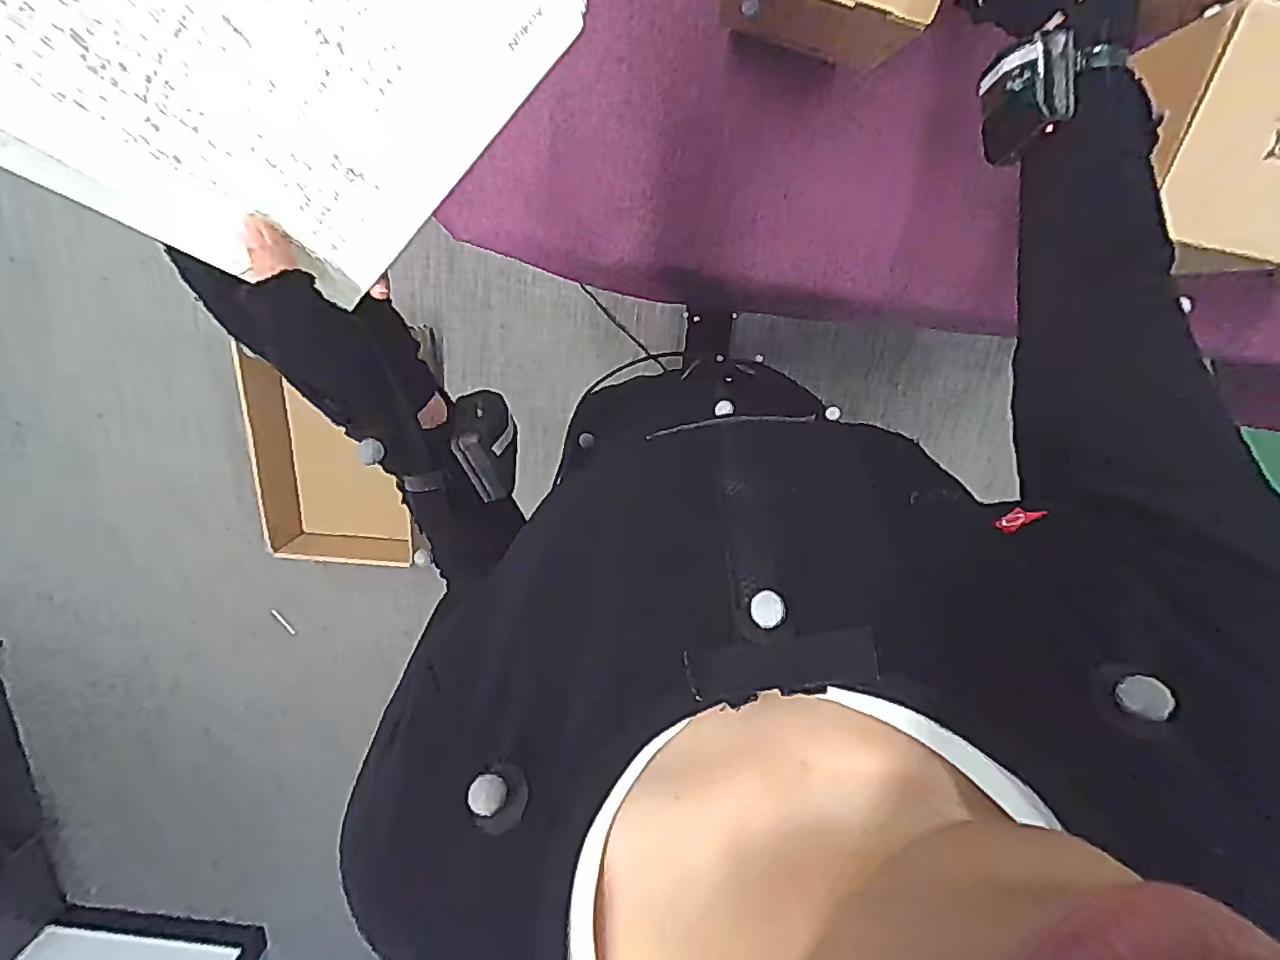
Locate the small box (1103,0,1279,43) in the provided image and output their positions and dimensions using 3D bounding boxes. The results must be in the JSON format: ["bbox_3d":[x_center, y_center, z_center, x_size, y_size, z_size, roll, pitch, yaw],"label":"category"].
[{"bbox_3d":[0.554,-0.509,0.453,0.168,0.176,0.179,10,109,-1],"label":"small box"}]

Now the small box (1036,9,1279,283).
[{"bbox_3d":[0.538,-0.298,0.527,0.168,0.176,0.179,12,109,-1],"label":"small box"}]
